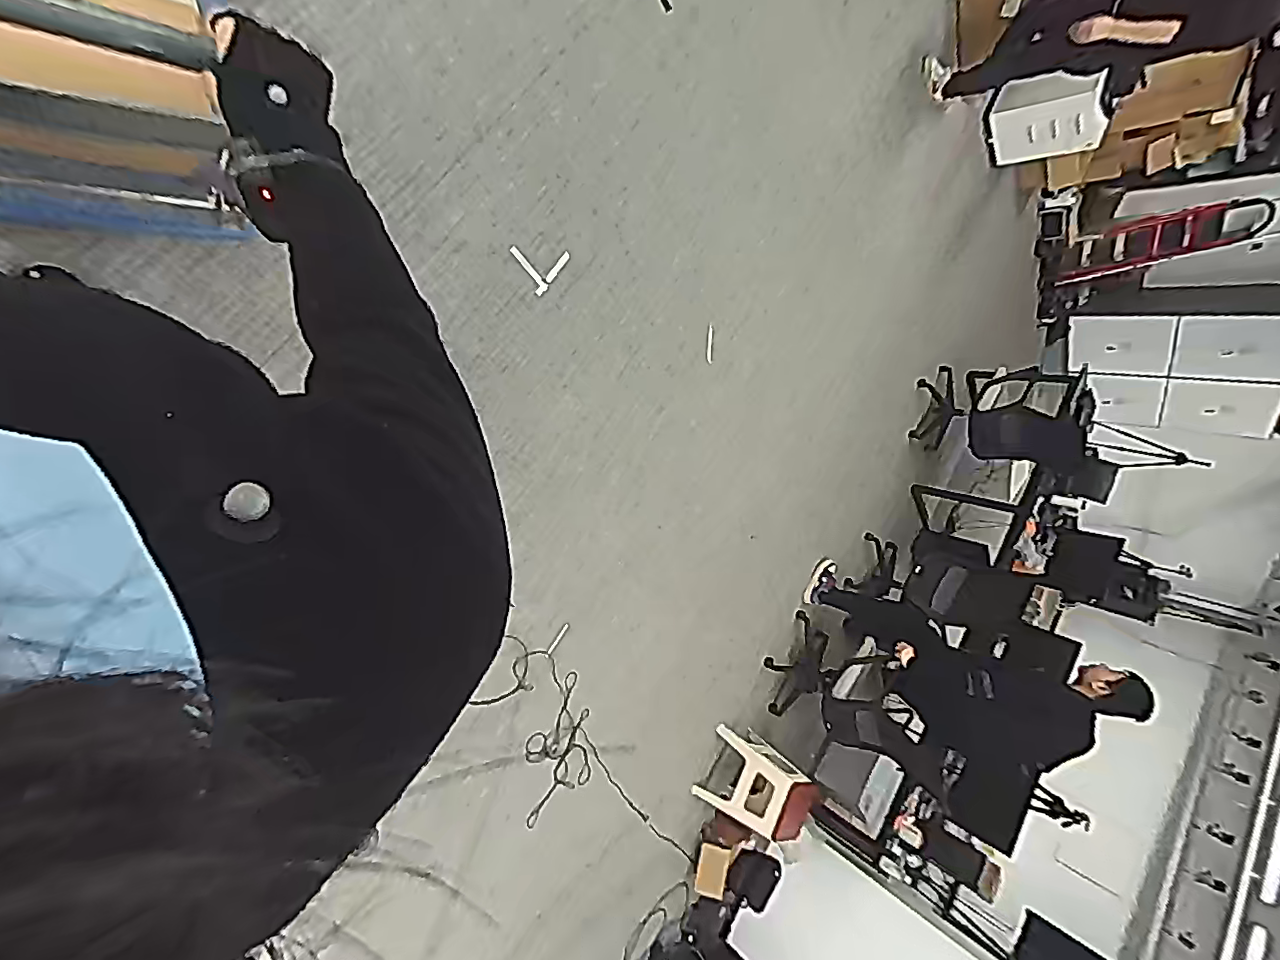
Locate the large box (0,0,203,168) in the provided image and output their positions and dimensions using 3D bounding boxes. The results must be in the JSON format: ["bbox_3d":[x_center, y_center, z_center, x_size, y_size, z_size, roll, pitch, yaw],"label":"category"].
[{"bbox_3d":[-0.846,-0.625,0.673,0.408,0.320,0.320,-13,112,-43],"label":"large box"}]
